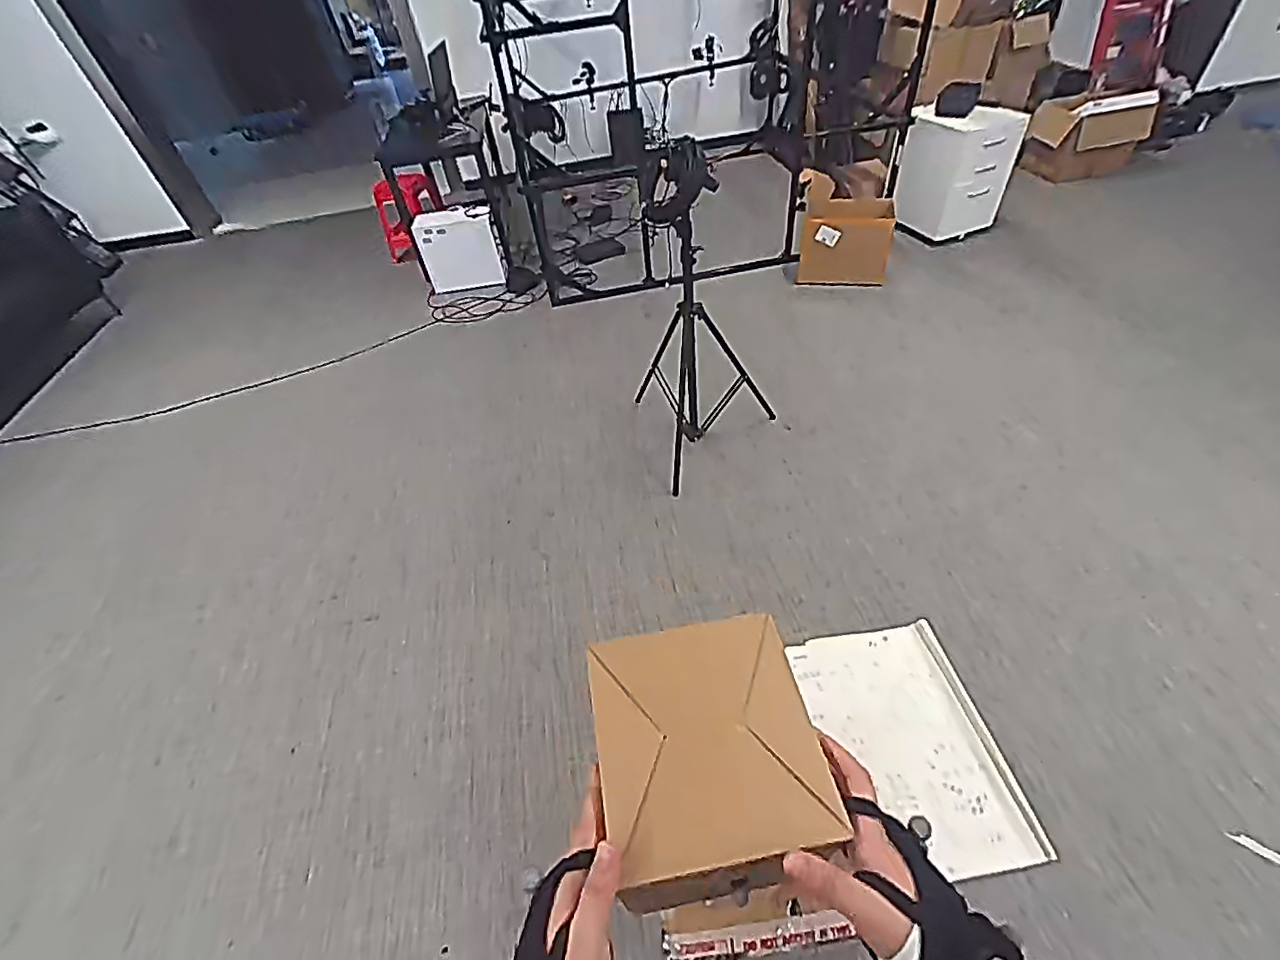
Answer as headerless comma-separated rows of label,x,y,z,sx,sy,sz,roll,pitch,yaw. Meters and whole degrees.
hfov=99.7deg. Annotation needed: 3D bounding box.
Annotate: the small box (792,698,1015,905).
small box,0.301,0.398,0.669,0.168,0.176,0.179,-8,48,-3
